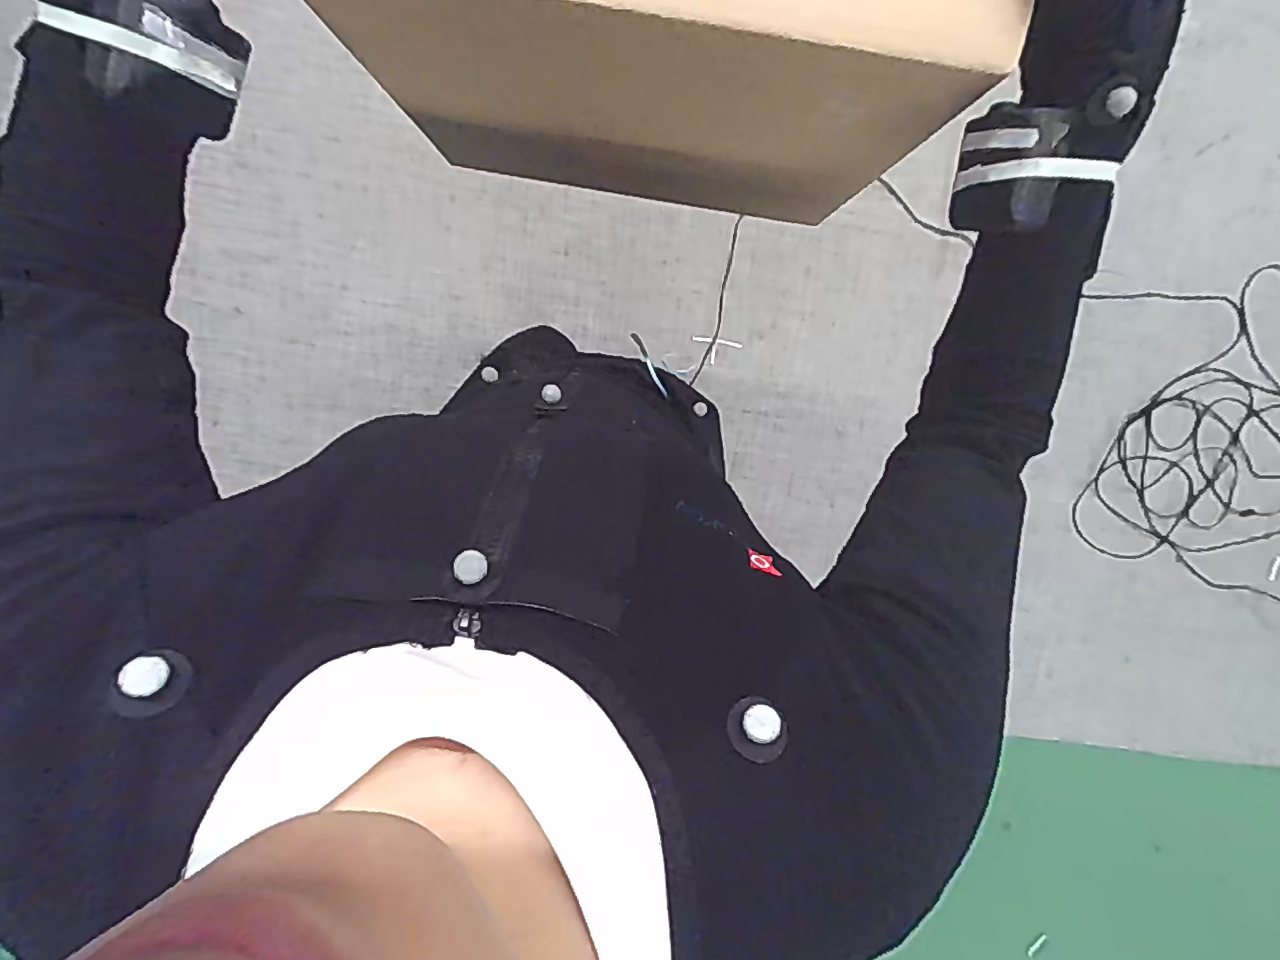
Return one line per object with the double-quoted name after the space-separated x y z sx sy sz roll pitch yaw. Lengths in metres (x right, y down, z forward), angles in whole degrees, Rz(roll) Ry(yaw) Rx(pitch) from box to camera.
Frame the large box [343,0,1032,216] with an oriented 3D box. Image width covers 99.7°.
0.028 -0.430 0.411 0.408 0.320 0.320 7 102 -4 "large box"
